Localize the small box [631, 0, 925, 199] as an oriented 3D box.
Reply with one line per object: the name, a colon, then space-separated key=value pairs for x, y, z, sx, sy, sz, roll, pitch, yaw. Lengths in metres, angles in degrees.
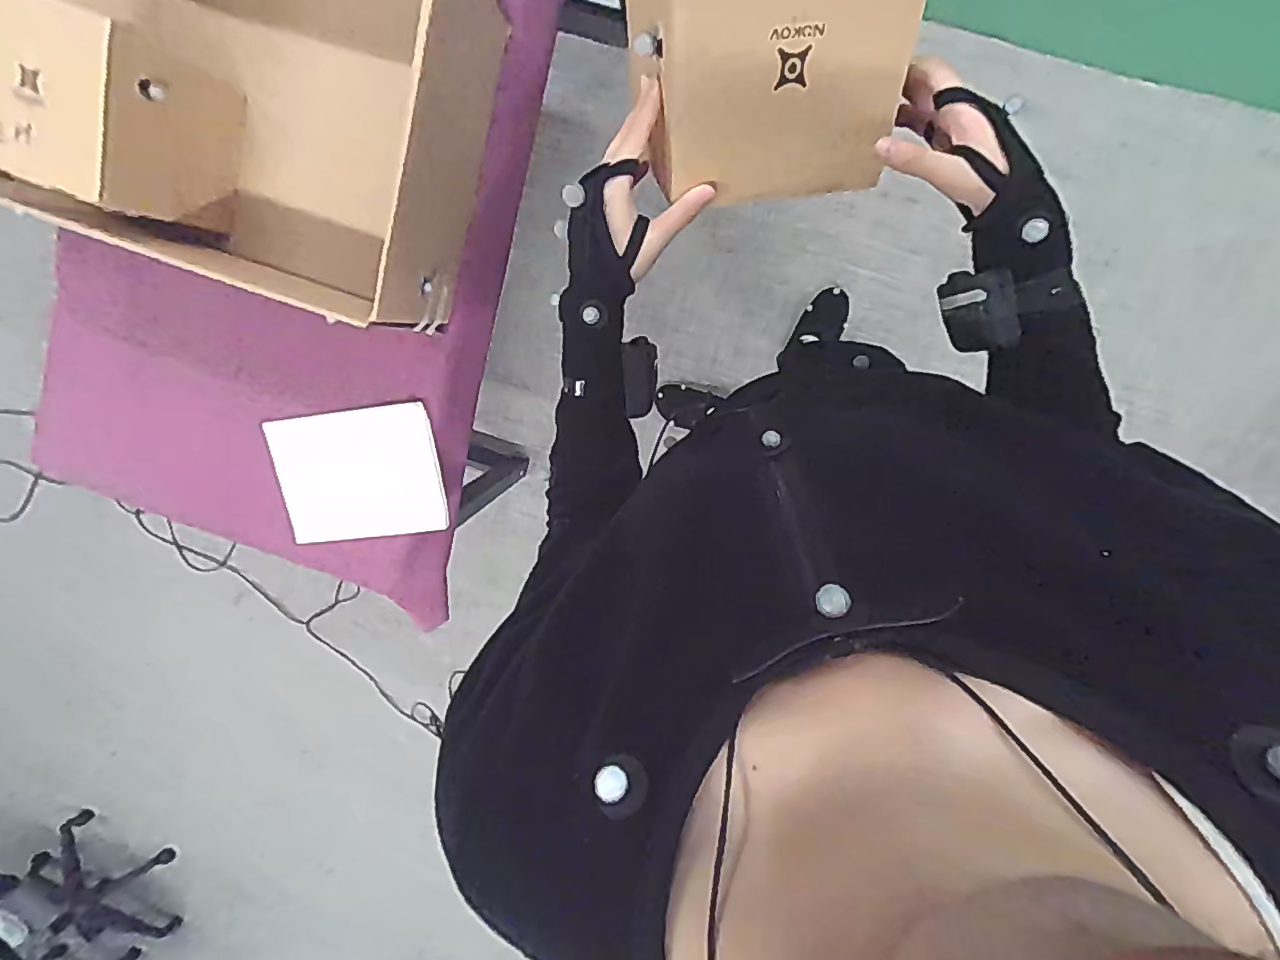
small box: x=0.087 y=-0.336 z=0.400 sx=0.168 sy=0.176 sz=0.179 roll=-9 pitch=136 yaw=-4
